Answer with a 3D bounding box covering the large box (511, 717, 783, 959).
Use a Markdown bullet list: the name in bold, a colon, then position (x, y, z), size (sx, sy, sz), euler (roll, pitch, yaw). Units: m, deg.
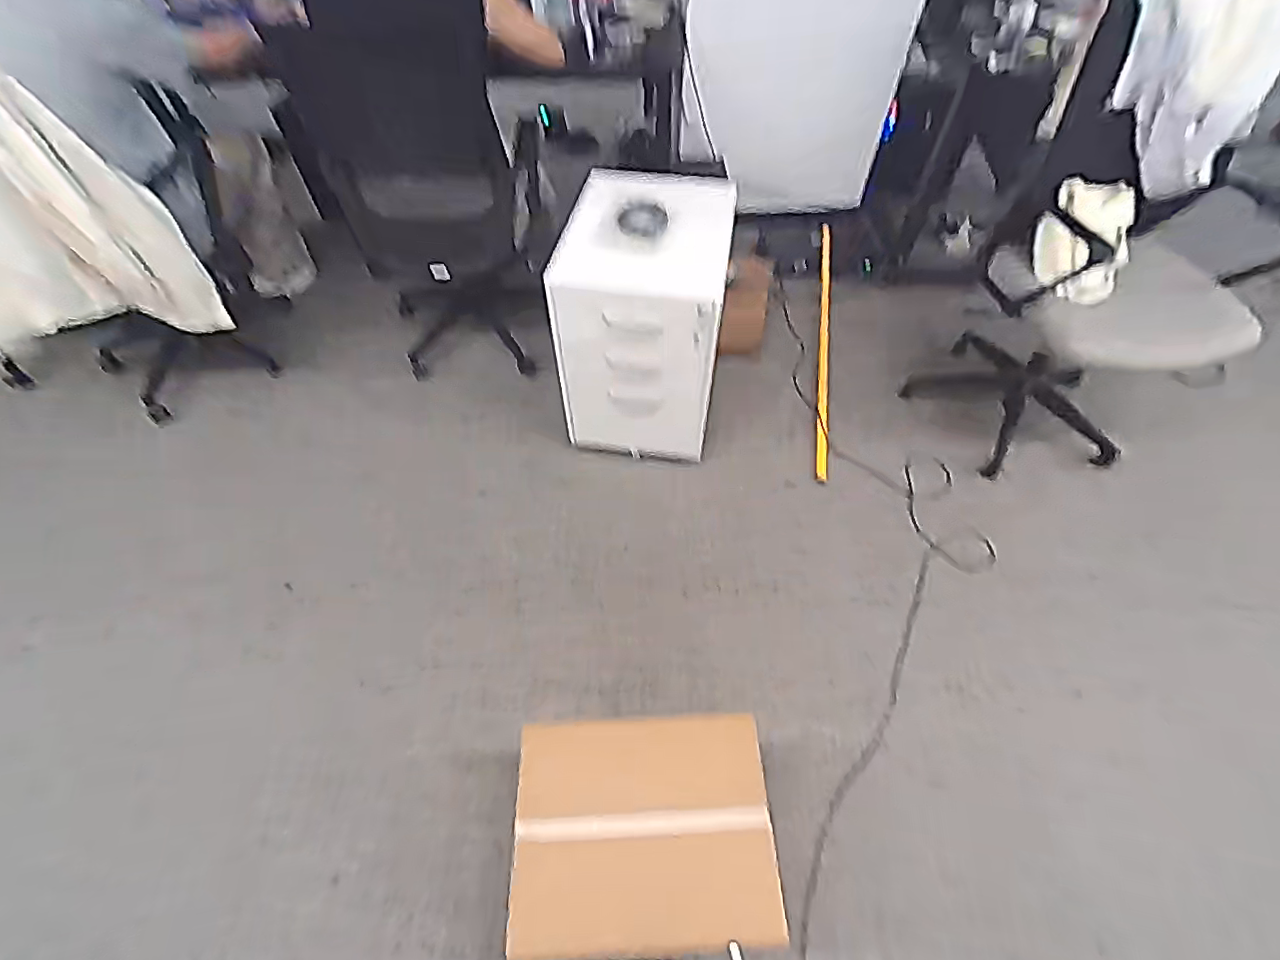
- **large box**: position (0.005, 0.641, 0.986), size (0.408, 0.320, 0.320), euler (-2, 53, -1)
